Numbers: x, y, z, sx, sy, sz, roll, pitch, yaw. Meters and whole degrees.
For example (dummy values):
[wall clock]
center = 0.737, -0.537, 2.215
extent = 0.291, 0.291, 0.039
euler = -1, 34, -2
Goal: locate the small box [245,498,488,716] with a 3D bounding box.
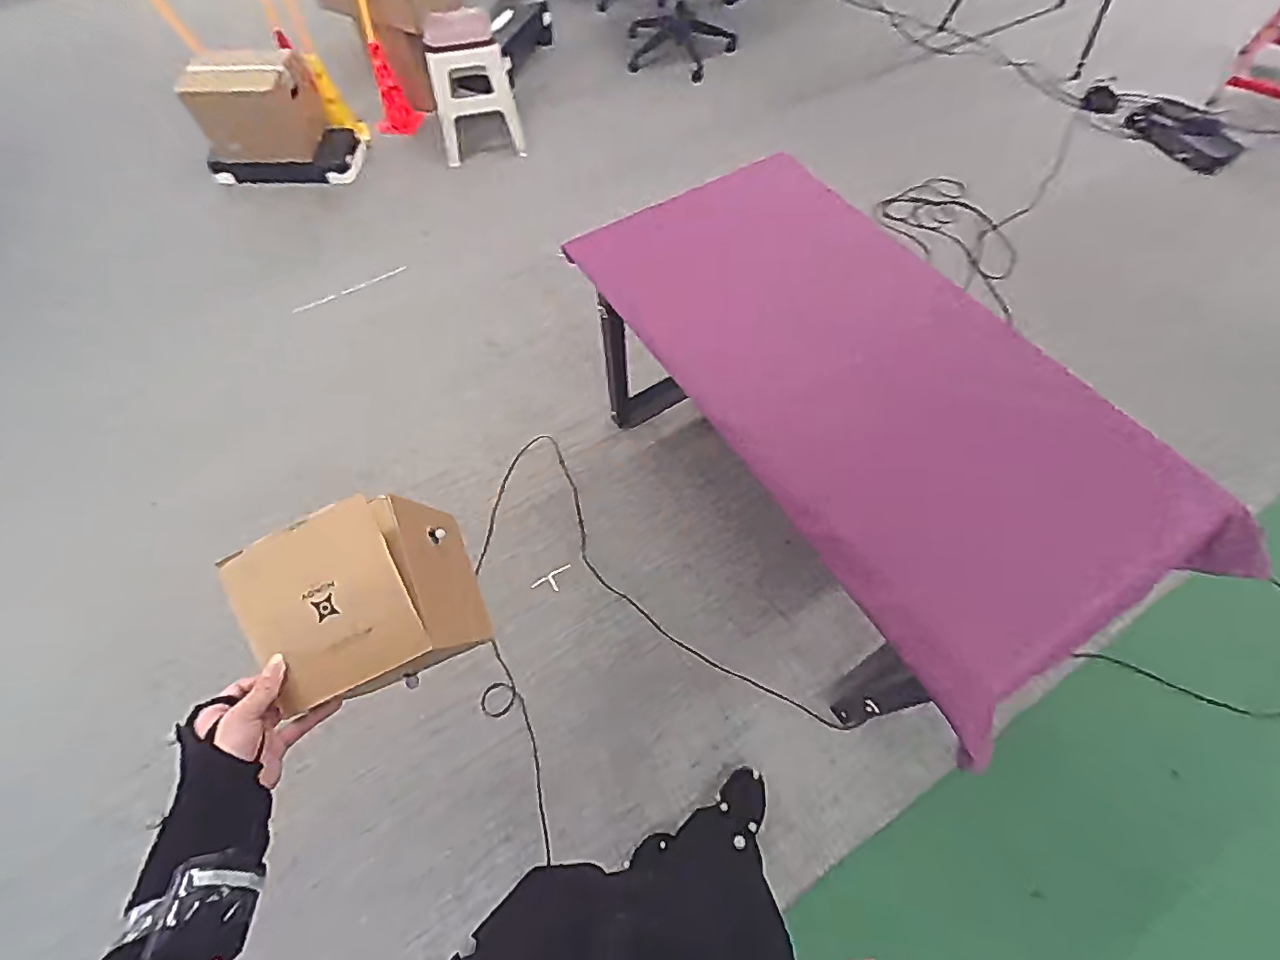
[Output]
[small box]
center = -0.304, 0.144, 0.629
extent = 0.168, 0.176, 0.179
euler = -25, 76, 2
